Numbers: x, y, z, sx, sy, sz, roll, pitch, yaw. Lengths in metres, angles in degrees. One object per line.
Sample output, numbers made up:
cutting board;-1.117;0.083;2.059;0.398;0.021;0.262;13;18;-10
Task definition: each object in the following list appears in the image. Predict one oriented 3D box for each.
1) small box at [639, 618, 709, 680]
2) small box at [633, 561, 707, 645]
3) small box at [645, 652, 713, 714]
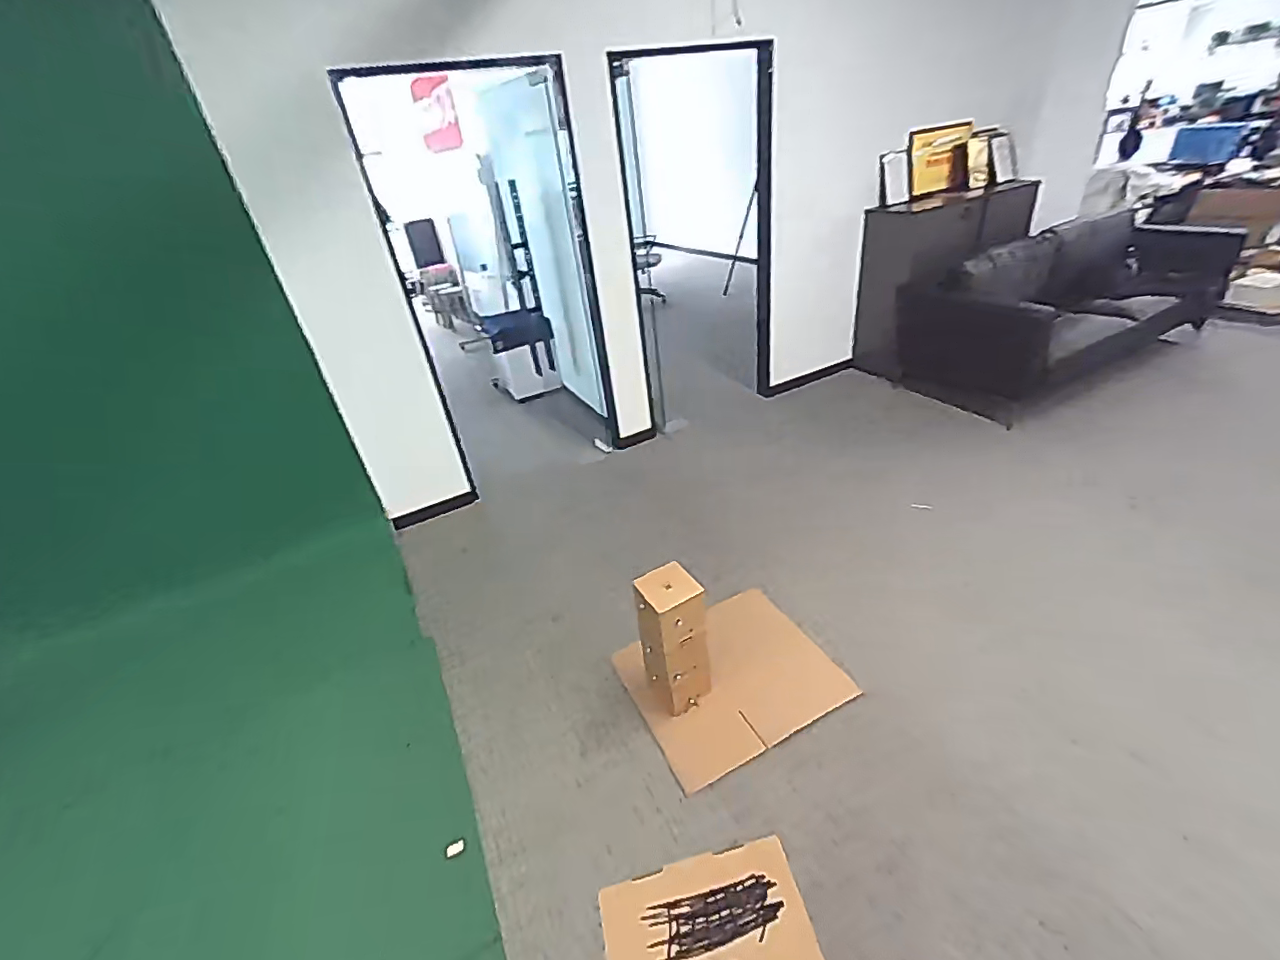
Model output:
small box;0.116;0.535;1.795;0.168;0.176;0.179;-23;34;-22
small box;0.100;0.396;1.713;0.168;0.176;0.179;-23;34;-21
small box;0.137;0.672;1.882;0.168;0.176;0.179;-25;36;-24
